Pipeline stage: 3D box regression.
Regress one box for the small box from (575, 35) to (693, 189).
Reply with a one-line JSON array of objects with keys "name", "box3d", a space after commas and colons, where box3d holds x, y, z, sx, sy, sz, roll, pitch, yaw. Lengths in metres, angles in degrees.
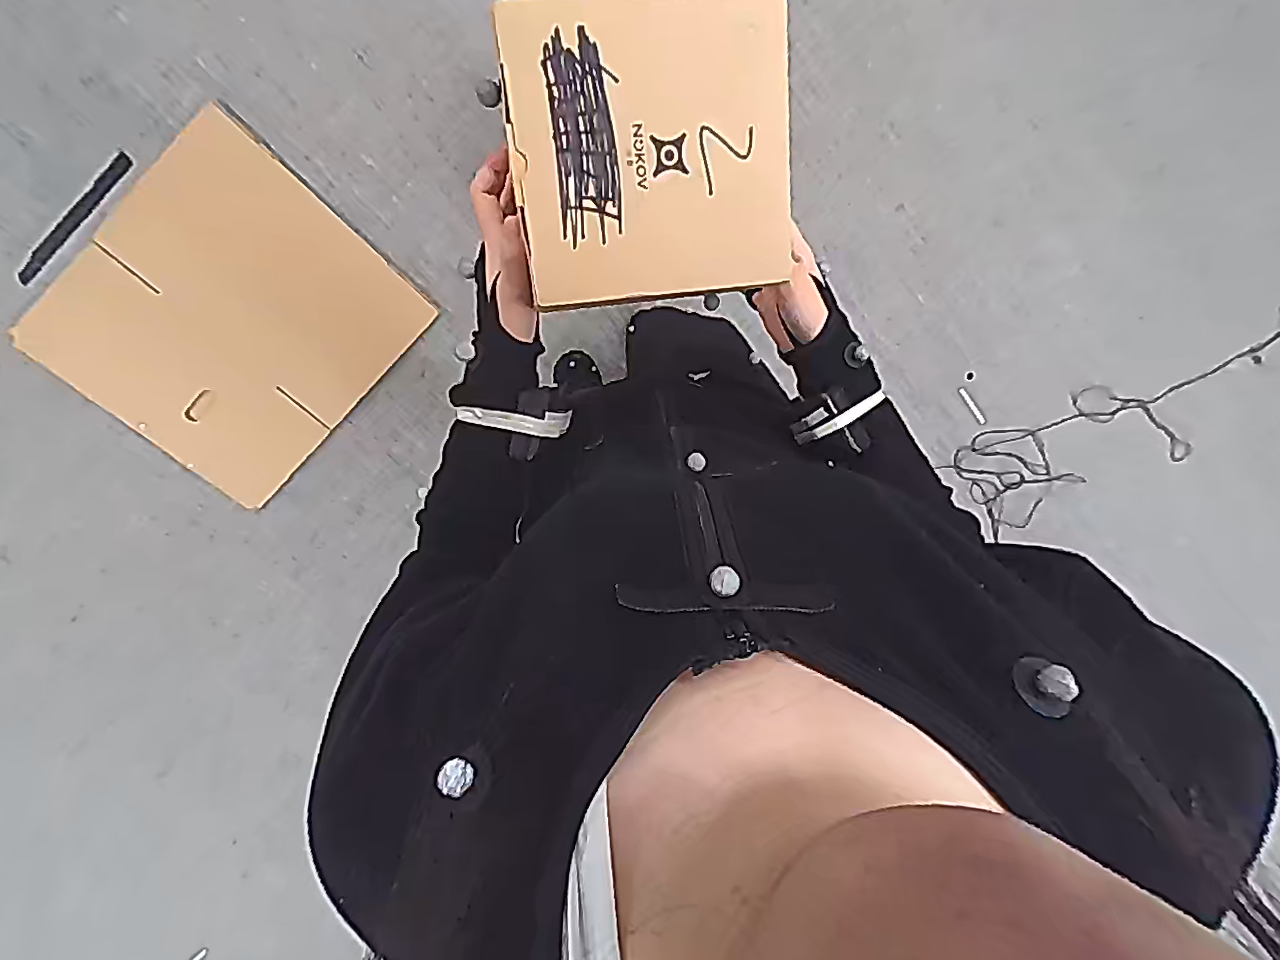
[{"name": "small box", "box3d": [-0.021, -0.622, 0.939, 0.179, 0.176, 0.168, 2, 105, -11]}]
